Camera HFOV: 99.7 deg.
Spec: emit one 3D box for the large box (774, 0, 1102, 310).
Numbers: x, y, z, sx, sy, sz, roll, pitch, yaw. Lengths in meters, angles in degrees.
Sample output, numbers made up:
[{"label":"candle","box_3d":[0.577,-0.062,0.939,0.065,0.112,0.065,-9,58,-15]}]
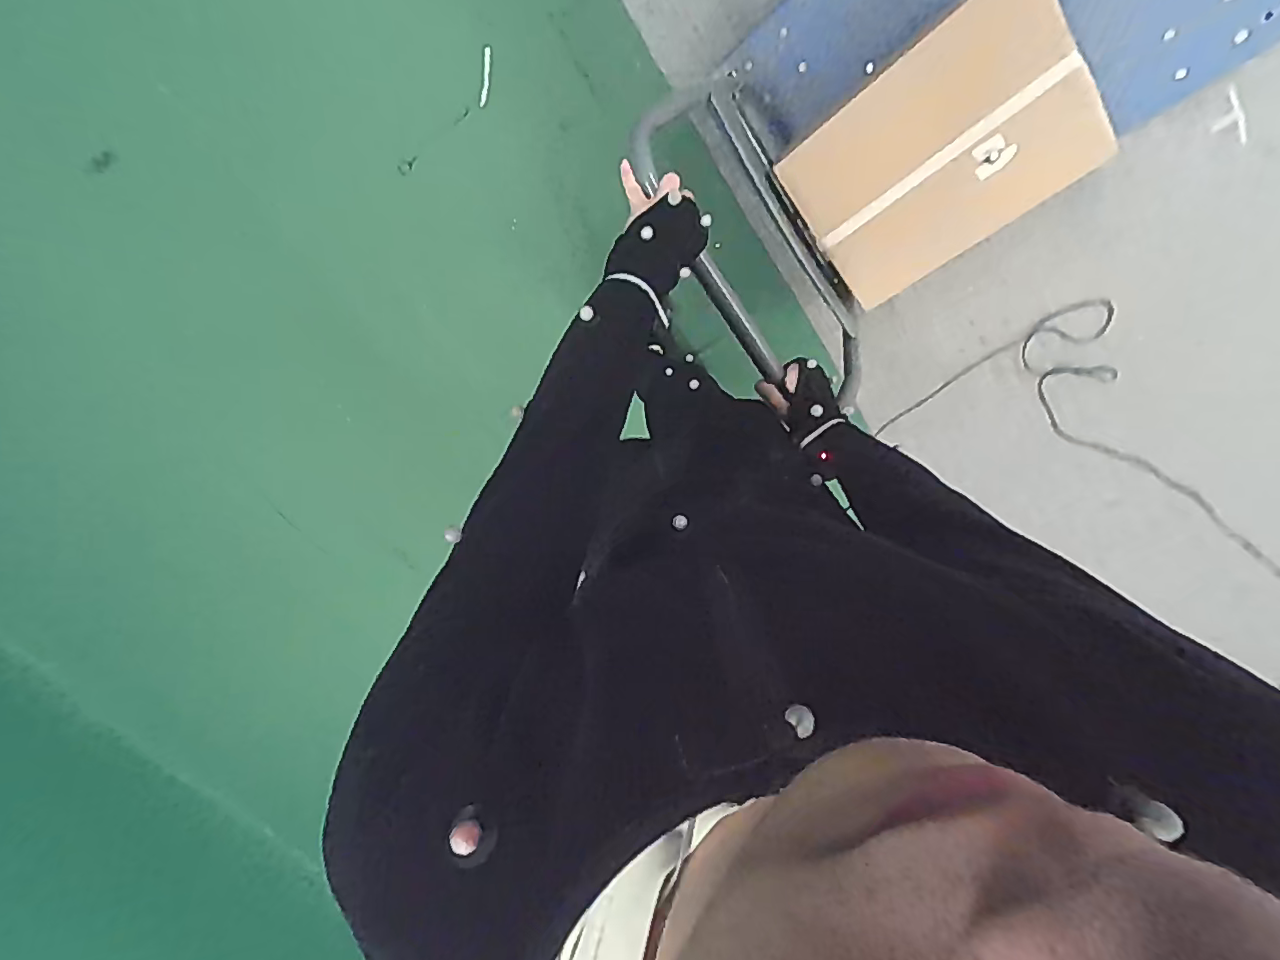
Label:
[{"label":"large box","box_3d":[0.507,-0.599,1.008,0.408,0.320,0.320,-31,112,31]}]
